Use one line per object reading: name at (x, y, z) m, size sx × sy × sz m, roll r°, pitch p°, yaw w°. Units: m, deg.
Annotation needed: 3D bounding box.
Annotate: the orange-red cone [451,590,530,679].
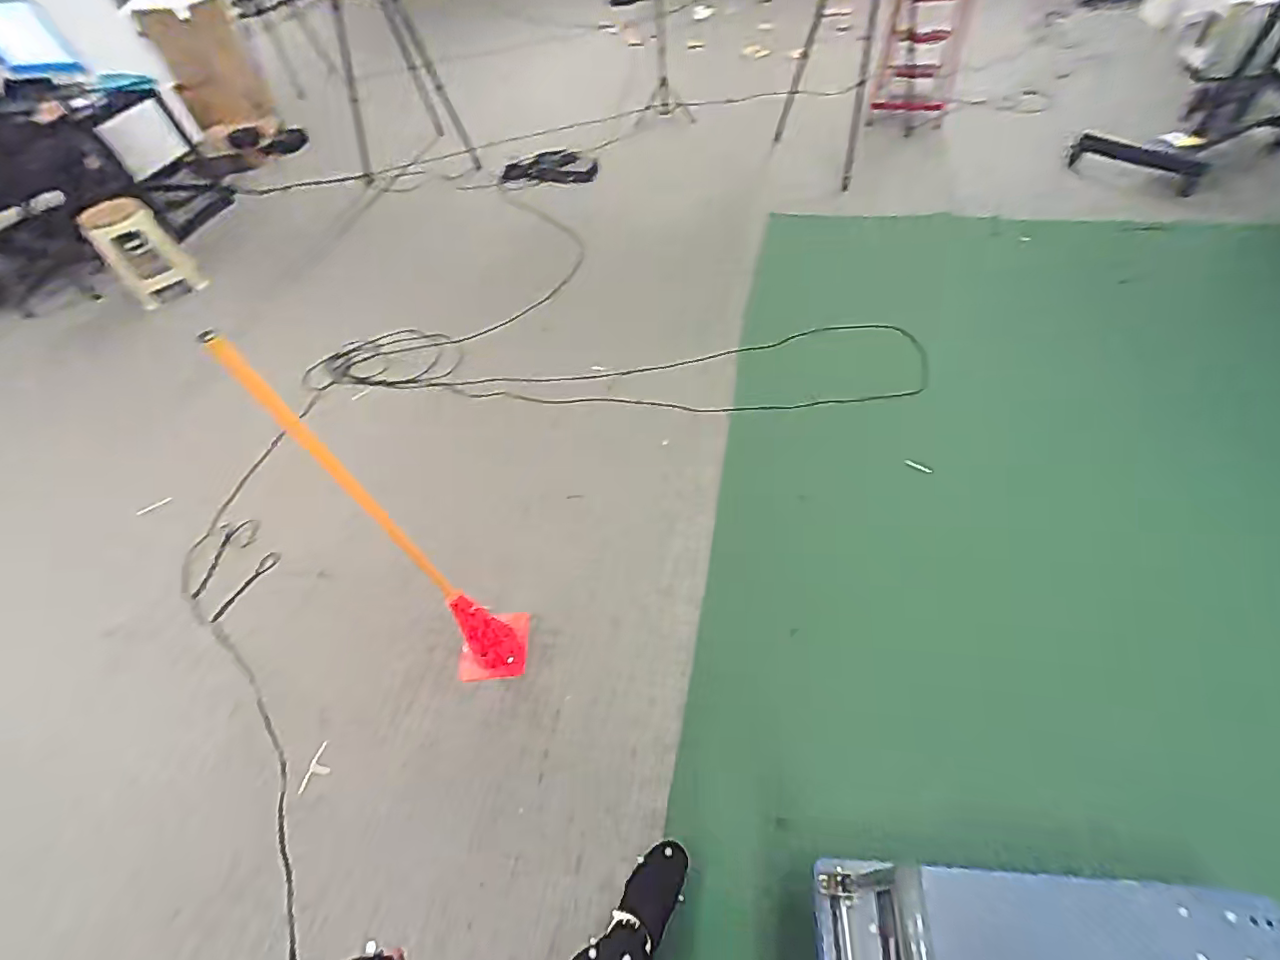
orange-red cone at (-0.456, 0.405, 1.527) m, size 0.198 × 0.360 × 0.199 m, roll -5°, pitch 51°, yaw 3°
